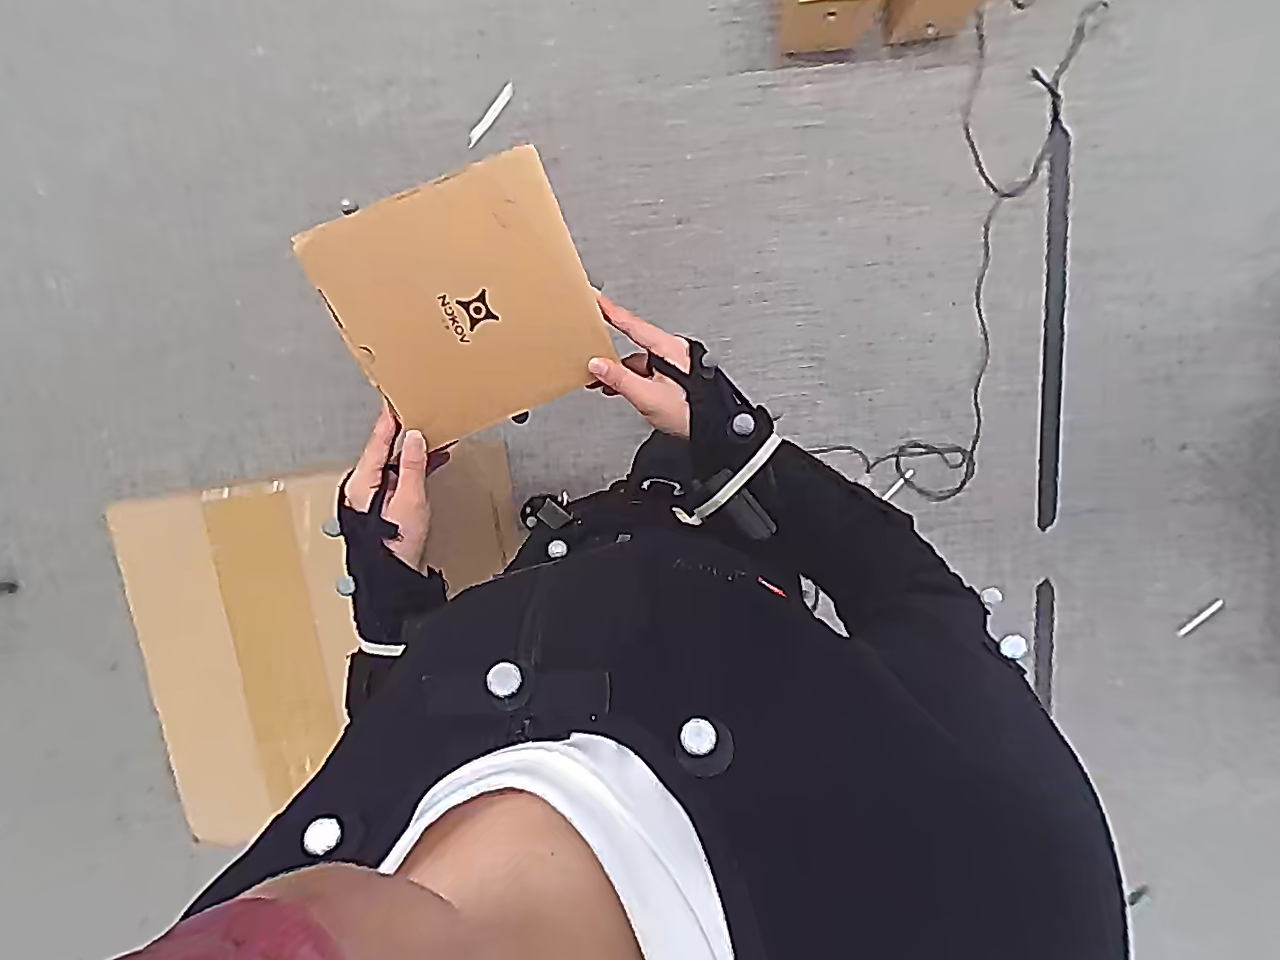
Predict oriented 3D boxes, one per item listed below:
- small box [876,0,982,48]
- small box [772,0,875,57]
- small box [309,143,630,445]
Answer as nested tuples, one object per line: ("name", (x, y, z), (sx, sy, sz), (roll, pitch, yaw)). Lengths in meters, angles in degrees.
("small box", (0.612, -1.066, 1.140), (0.168, 0.176, 0.179), (-7, 99, 0))
("small box", (0.380, -1.033, 1.140), (0.179, 0.176, 0.168), (-2, 98, 1))
("small box", (-0.126, -0.158, 0.458), (0.179, 0.176, 0.168), (-22, 116, 0))
